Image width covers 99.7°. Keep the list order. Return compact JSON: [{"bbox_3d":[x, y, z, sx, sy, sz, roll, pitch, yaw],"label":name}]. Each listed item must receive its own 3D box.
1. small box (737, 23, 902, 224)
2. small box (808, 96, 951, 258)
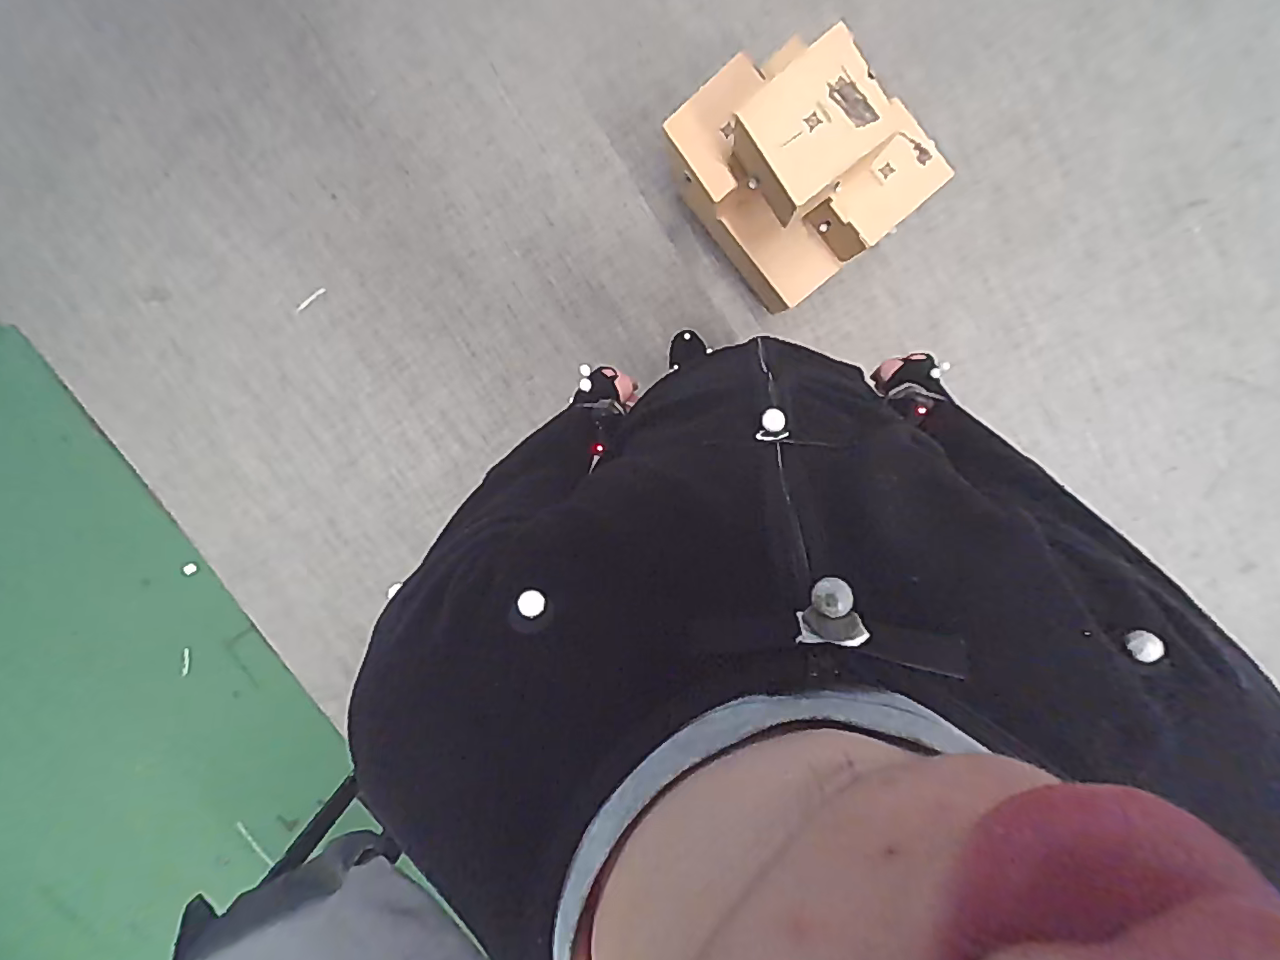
[{"bbox_3d":[0.264,-0.536,0.844,0.179,0.176,0.168,-34,97,16],"label":"small box"},{"bbox_3d":[0.418,-0.539,0.994,0.179,0.176,0.168,-40,96,14],"label":"small box"}]
